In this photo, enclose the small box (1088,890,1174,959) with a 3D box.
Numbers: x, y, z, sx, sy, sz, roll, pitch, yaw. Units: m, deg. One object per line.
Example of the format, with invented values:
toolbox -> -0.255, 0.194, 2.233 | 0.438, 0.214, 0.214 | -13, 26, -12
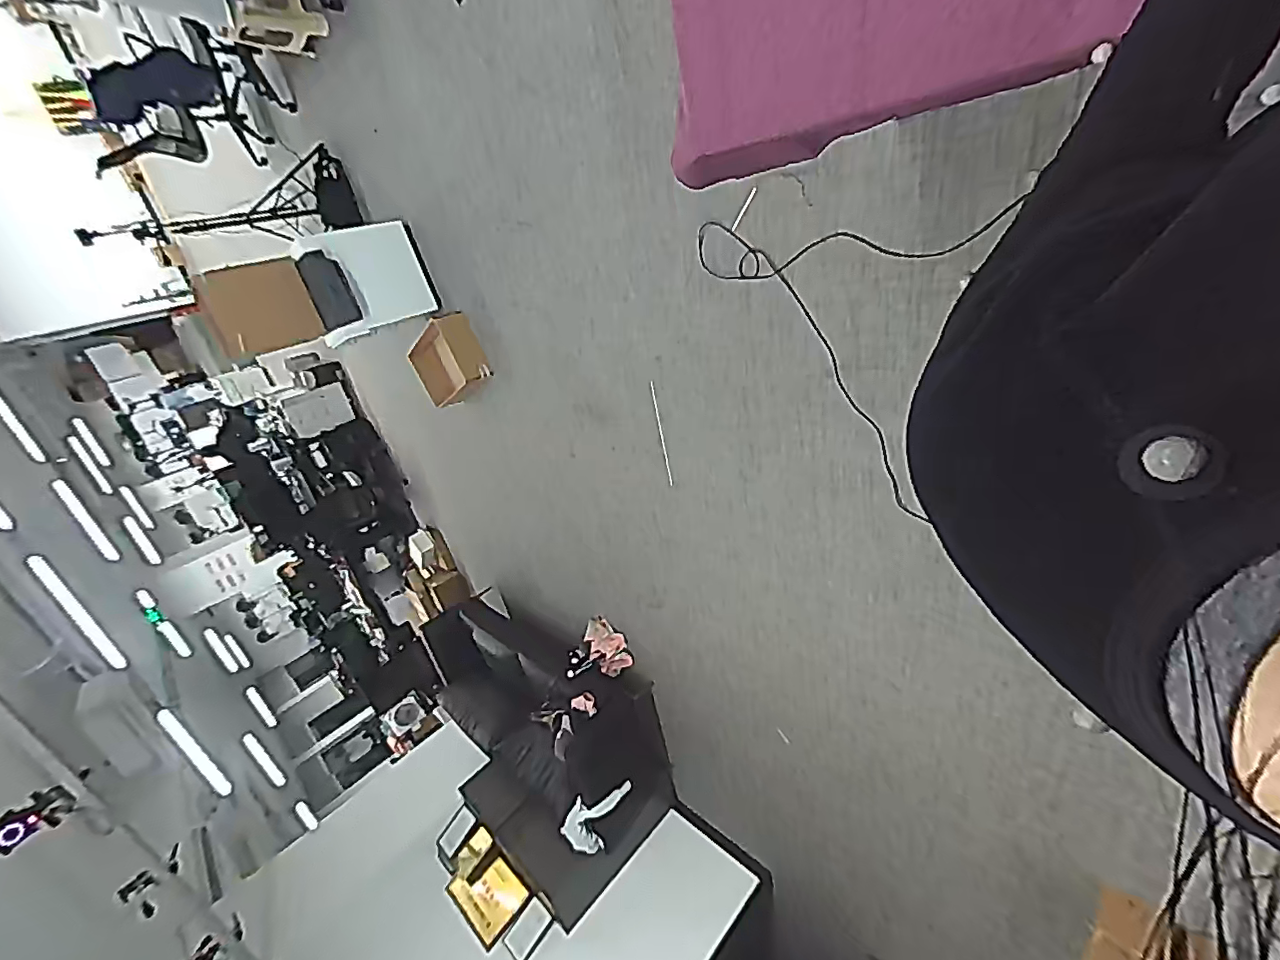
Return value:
small box -> 1.546, 1.458, 1.700 | 0.168, 0.176, 0.179 | 15, 125, 44
